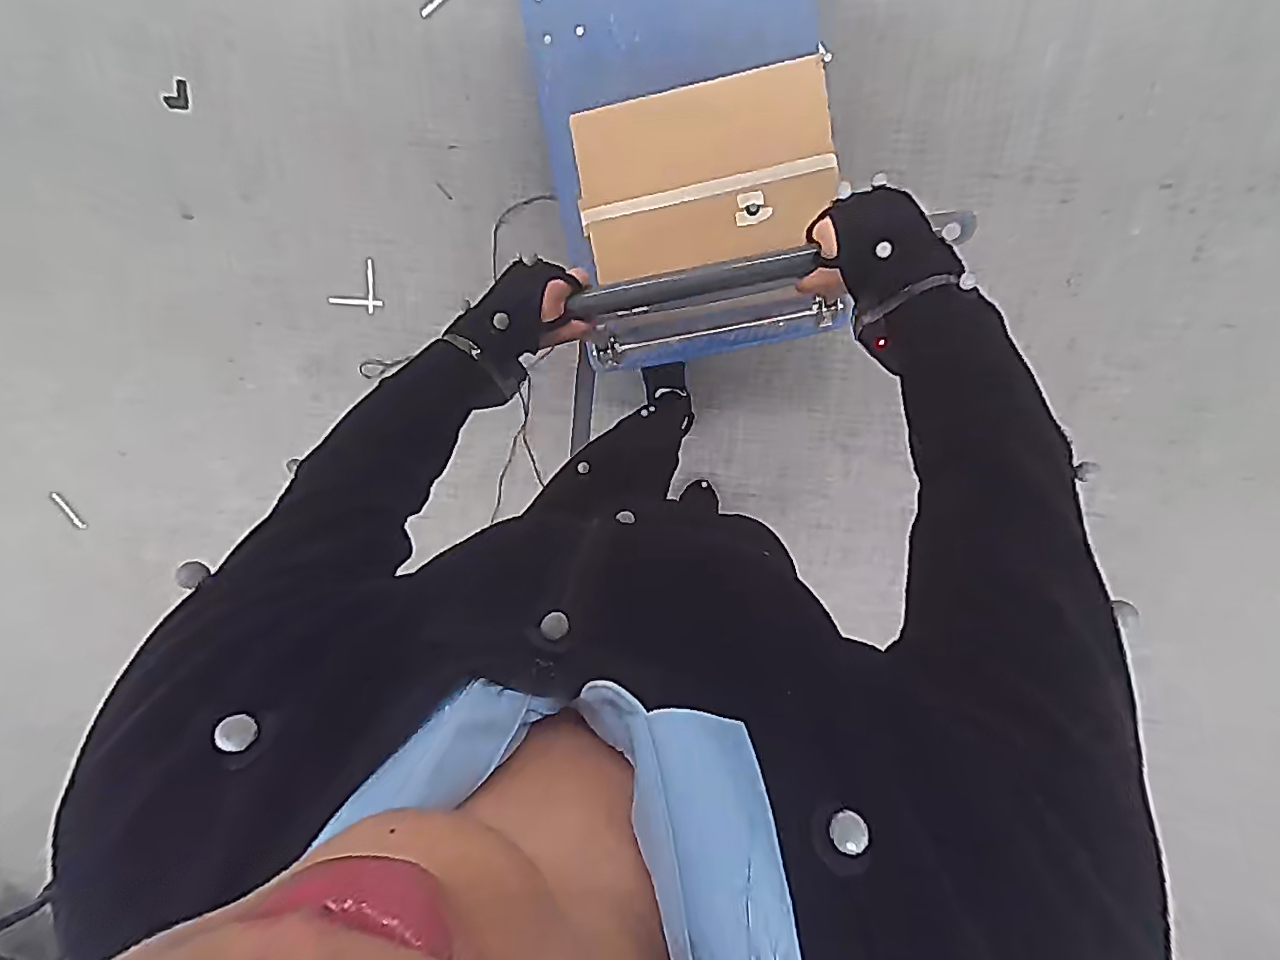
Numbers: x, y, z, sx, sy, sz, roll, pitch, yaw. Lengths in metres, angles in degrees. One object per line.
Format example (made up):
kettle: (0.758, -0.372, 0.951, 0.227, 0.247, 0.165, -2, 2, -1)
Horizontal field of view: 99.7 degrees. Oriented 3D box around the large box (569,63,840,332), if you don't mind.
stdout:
large box: (0.115, -0.485, 1.020, 0.408, 0.320, 0.320, -9, 100, 6)
